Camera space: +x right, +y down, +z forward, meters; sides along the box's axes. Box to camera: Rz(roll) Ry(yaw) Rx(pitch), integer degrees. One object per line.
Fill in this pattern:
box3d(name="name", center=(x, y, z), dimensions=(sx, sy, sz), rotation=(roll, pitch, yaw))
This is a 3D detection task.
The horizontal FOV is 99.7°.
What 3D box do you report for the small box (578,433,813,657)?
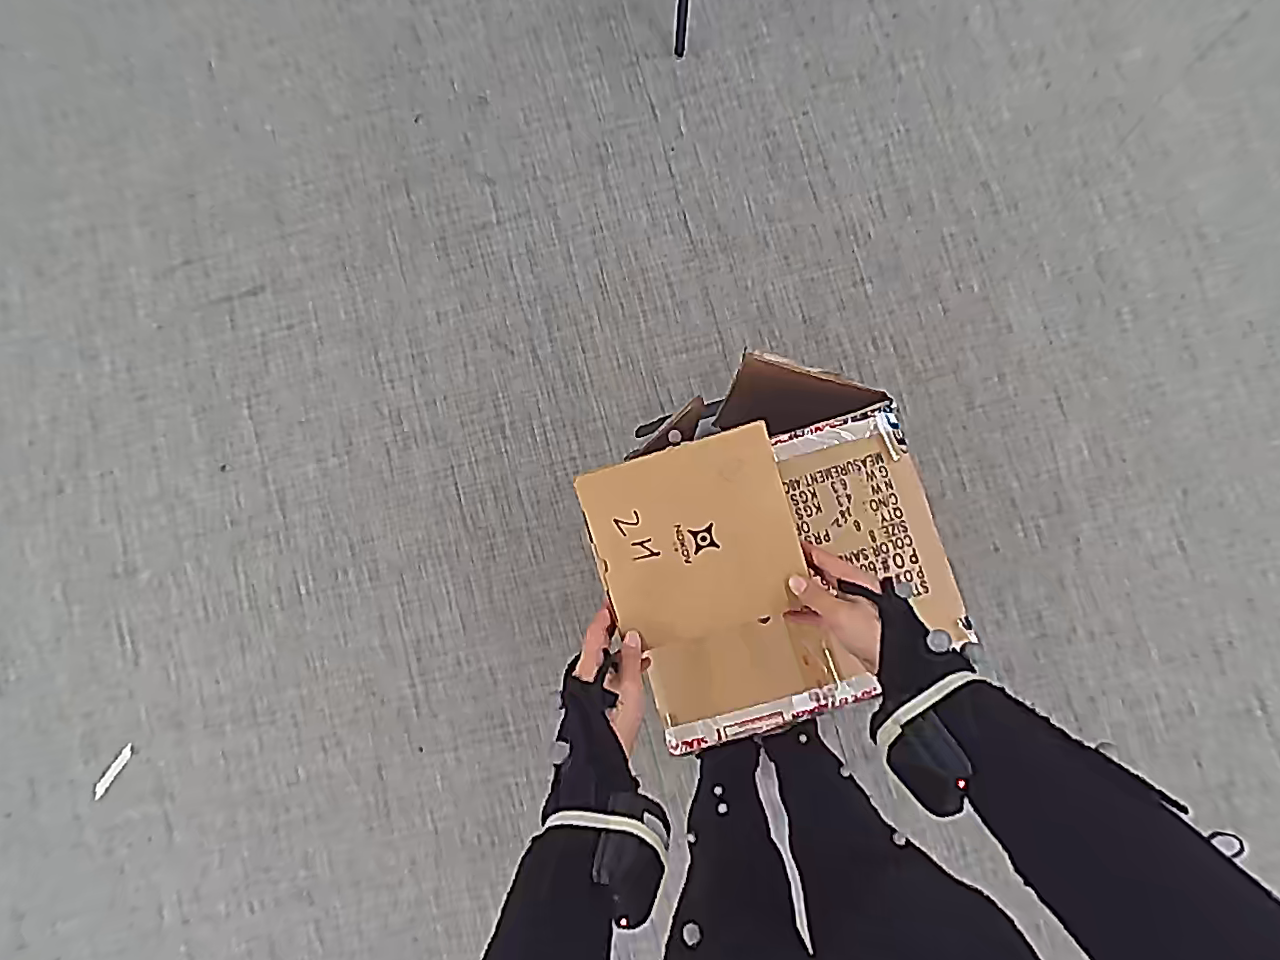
box3d(name="small box", center=(0.052, 0.054, 0.555), dimensions=(0.179, 0.176, 0.168), rotation=(-17, 91, 4))
